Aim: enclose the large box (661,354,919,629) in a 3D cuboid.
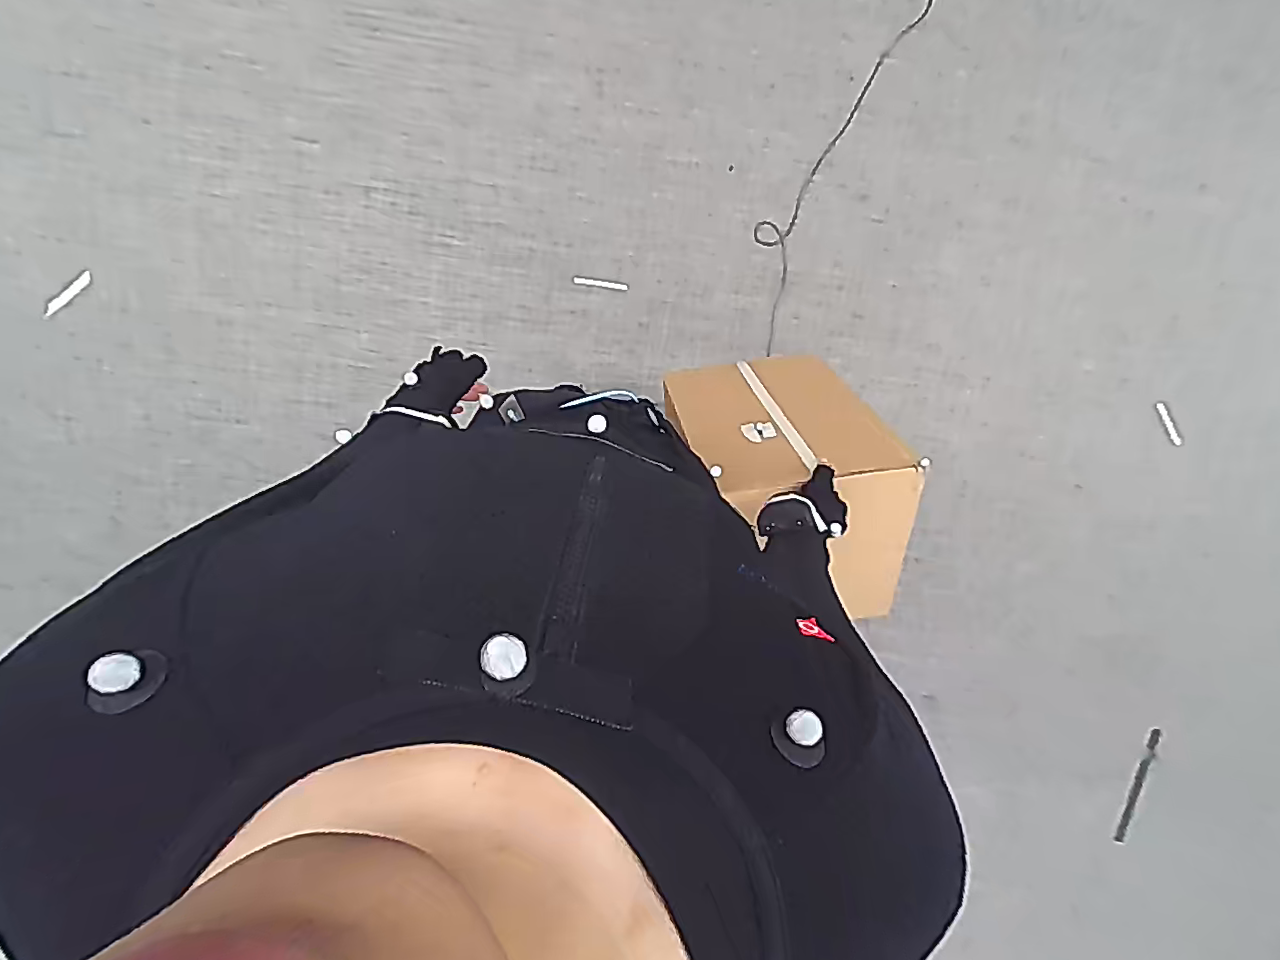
[{"bbox_3d":[0.230,0.003,1.002,0.320,0.408,0.320,-9,127,-3],"label":"large box"}]
